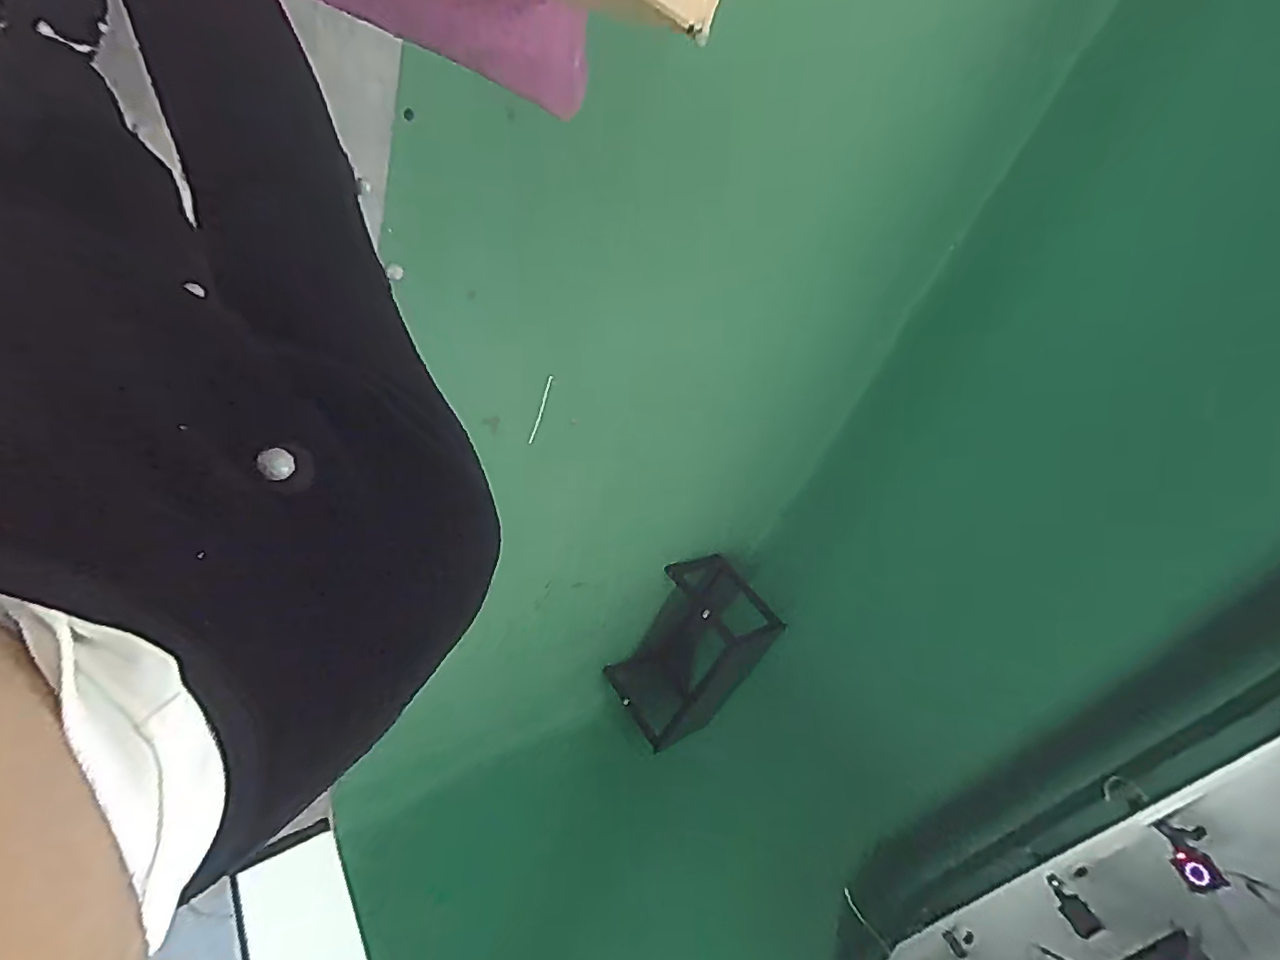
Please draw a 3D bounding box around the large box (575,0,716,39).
[{"bbox_3d":[-0.066,-0.663,0.407,0.320,0.320,0.408,-8,134,-41],"label":"large box"}]
